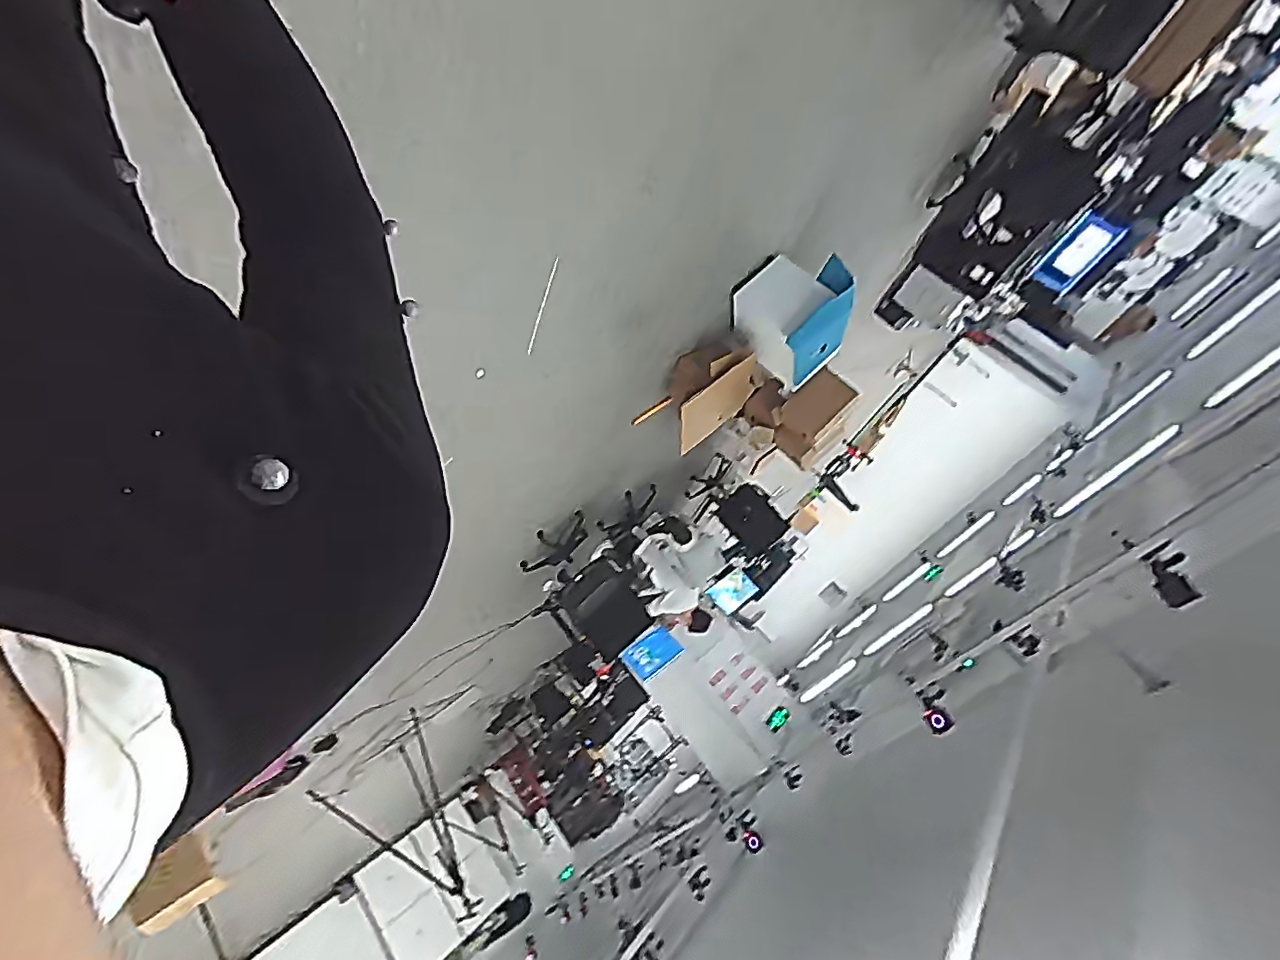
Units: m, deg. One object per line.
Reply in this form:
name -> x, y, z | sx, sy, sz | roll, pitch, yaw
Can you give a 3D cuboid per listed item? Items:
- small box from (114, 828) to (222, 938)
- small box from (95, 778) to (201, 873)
small box -> -1.282, 1.090, 1.471 | 0.168, 0.176, 0.179 | -25, 153, -40
small box -> -1.394, 0.987, 1.538 | 0.168, 0.176, 0.179 | -27, 156, -40
